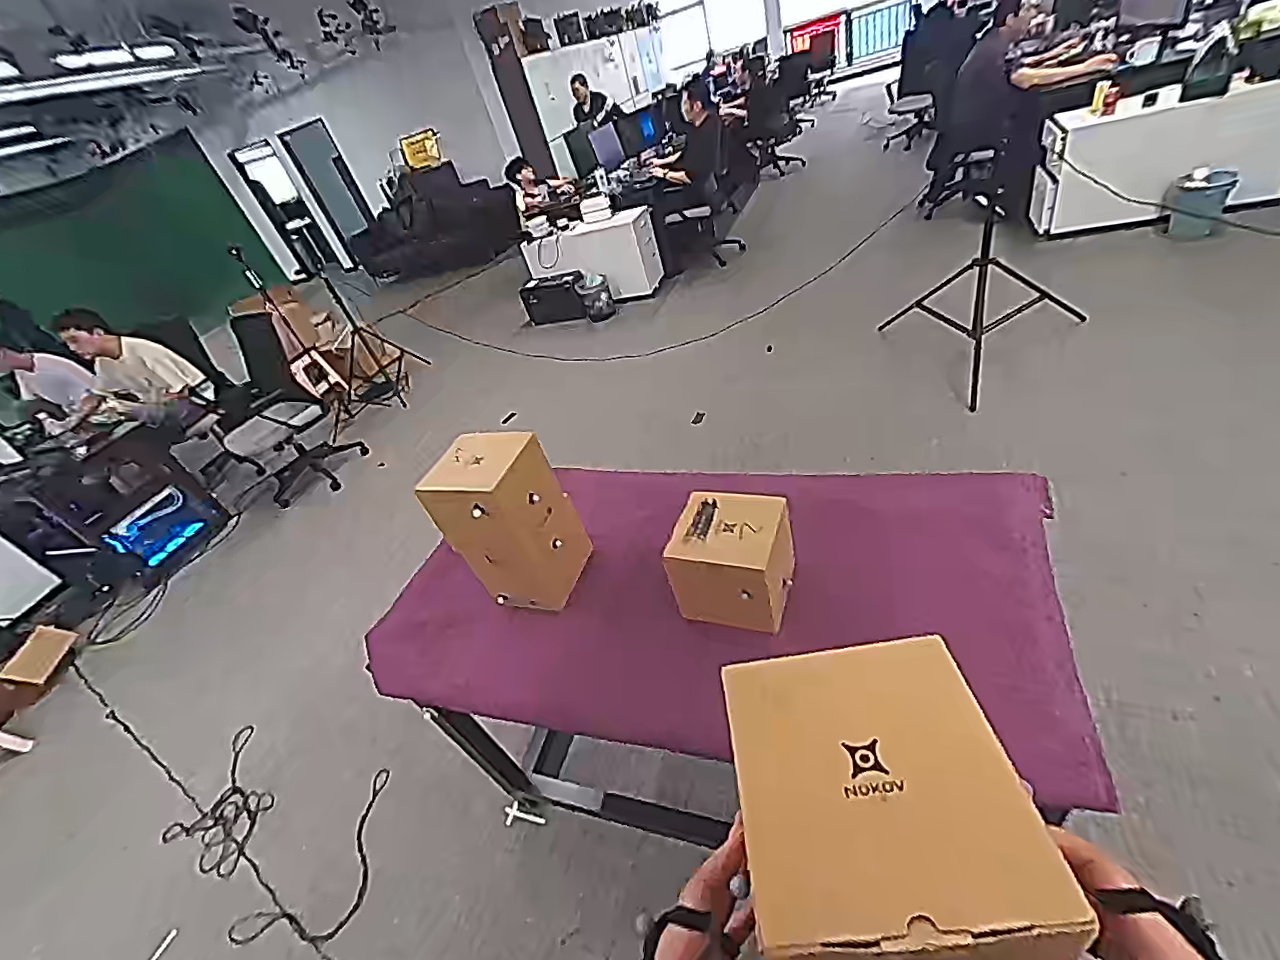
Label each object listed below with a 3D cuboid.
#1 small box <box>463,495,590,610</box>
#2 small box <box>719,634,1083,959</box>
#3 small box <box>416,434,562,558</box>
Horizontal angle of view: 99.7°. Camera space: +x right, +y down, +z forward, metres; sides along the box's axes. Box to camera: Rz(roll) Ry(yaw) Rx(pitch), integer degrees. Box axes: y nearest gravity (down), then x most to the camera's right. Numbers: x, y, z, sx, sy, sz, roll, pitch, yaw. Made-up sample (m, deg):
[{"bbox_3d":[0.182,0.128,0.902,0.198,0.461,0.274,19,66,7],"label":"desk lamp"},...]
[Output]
[{"bbox_3d":[-0.224,0.149,1.124,0.168,0.176,0.179,1,41,24],"label":"small box"},{"bbox_3d":[0.156,0.242,0.388,0.168,0.176,0.179,-11,35,7],"label":"small box"},{"bbox_3d":[-0.272,0.031,1.020,0.179,0.176,0.168,0,41,24],"label":"small box"}]
